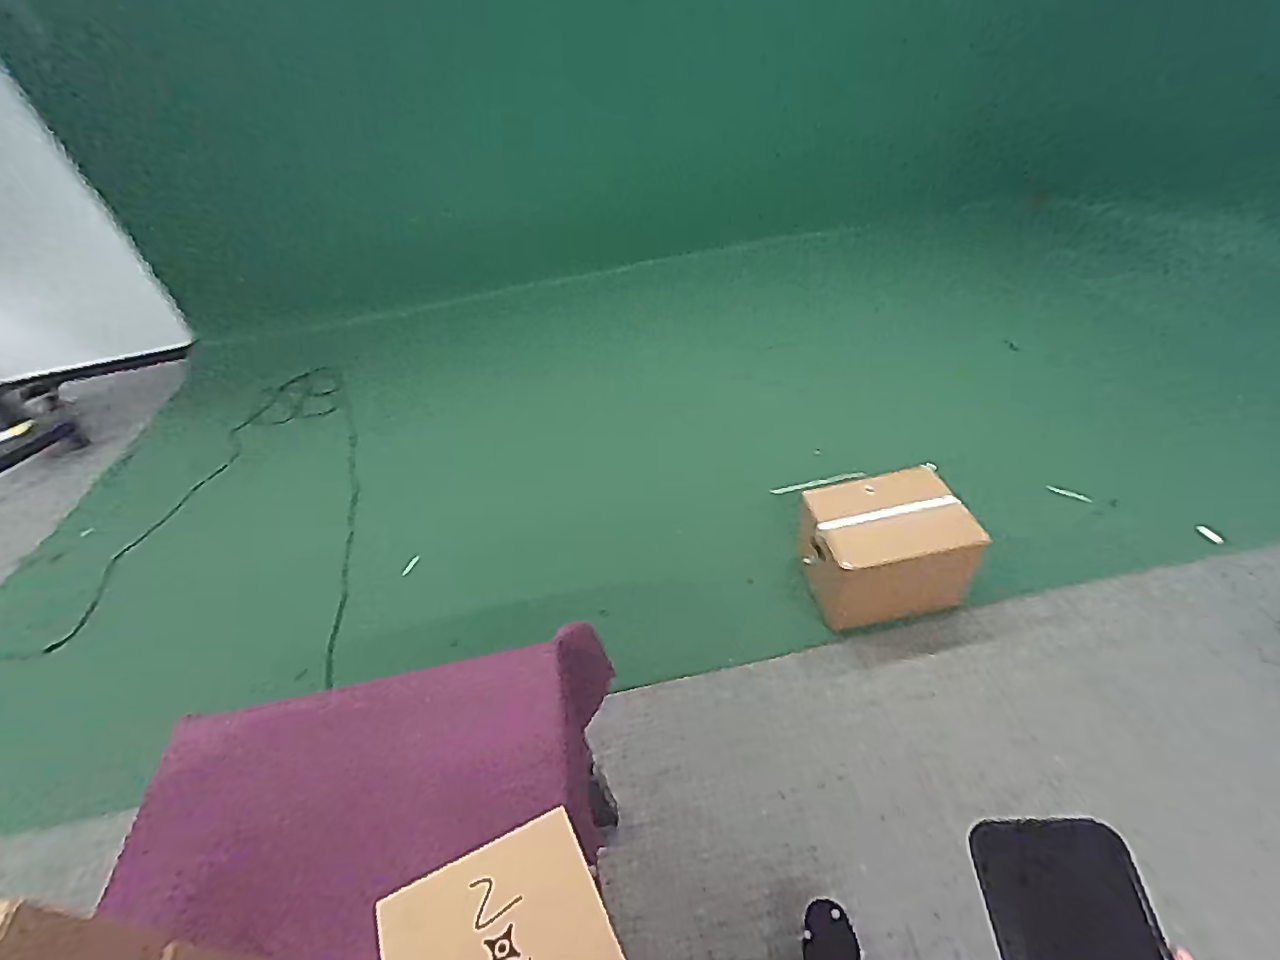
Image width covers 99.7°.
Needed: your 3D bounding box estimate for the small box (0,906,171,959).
[{"bbox_3d":[-0.525,0.453,0.402,0.179,0.176,0.168,-12,43,-2],"label":"small box"}]
